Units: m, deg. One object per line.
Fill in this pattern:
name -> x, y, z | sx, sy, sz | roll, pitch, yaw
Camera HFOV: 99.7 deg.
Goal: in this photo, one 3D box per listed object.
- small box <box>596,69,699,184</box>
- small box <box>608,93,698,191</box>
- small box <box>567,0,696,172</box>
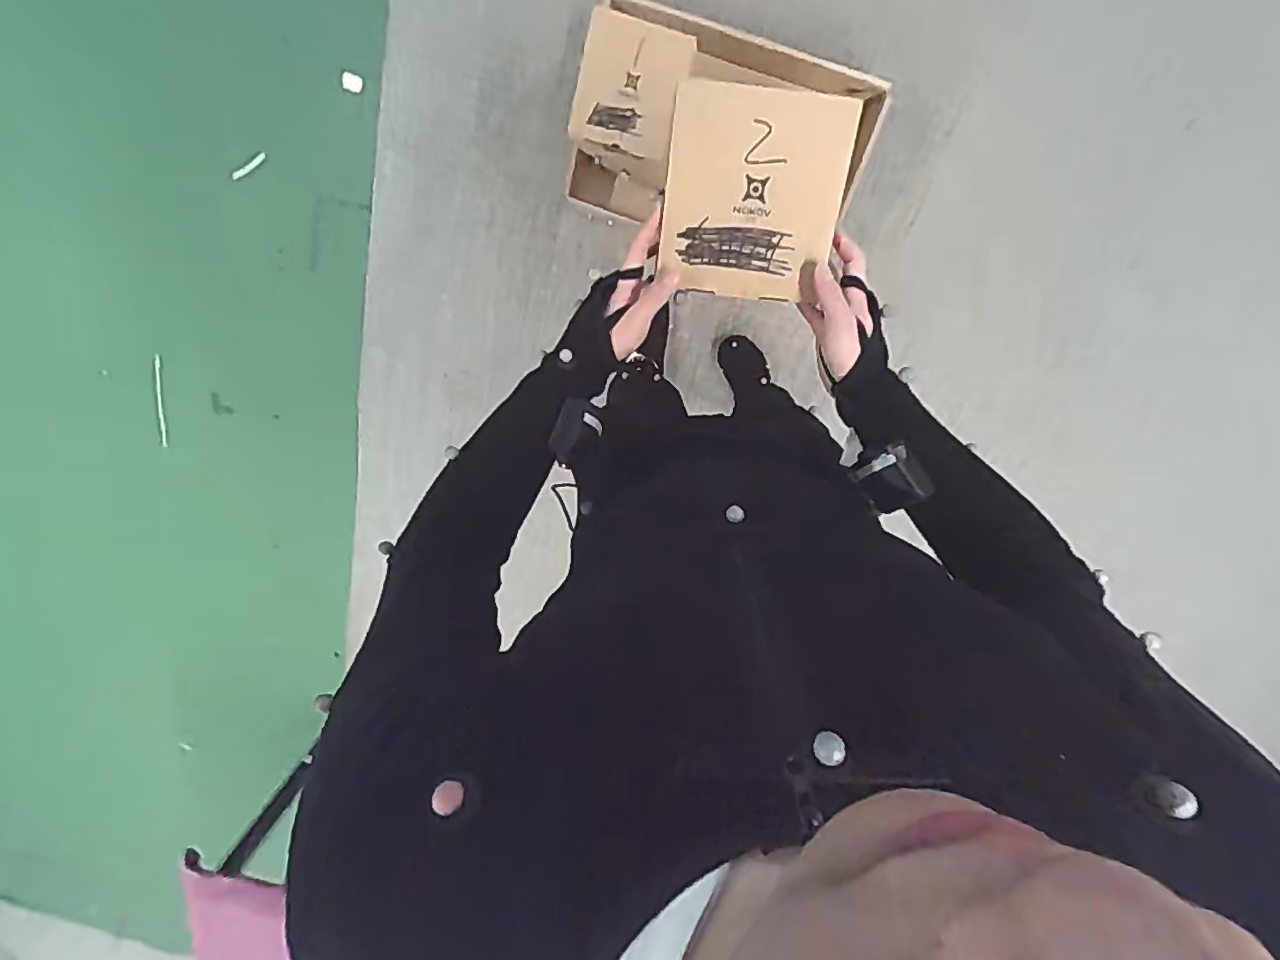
small box -> 0.006, -0.707, 1.057 | 0.168, 0.176, 0.179 | 19, 113, -3
small box -> 0.020, -0.771, 1.205 | 0.168, 0.176, 0.179 | 19, 112, -3
small box -> -0.009, -0.642, 0.907 | 0.168, 0.176, 0.179 | 17, 112, -2
